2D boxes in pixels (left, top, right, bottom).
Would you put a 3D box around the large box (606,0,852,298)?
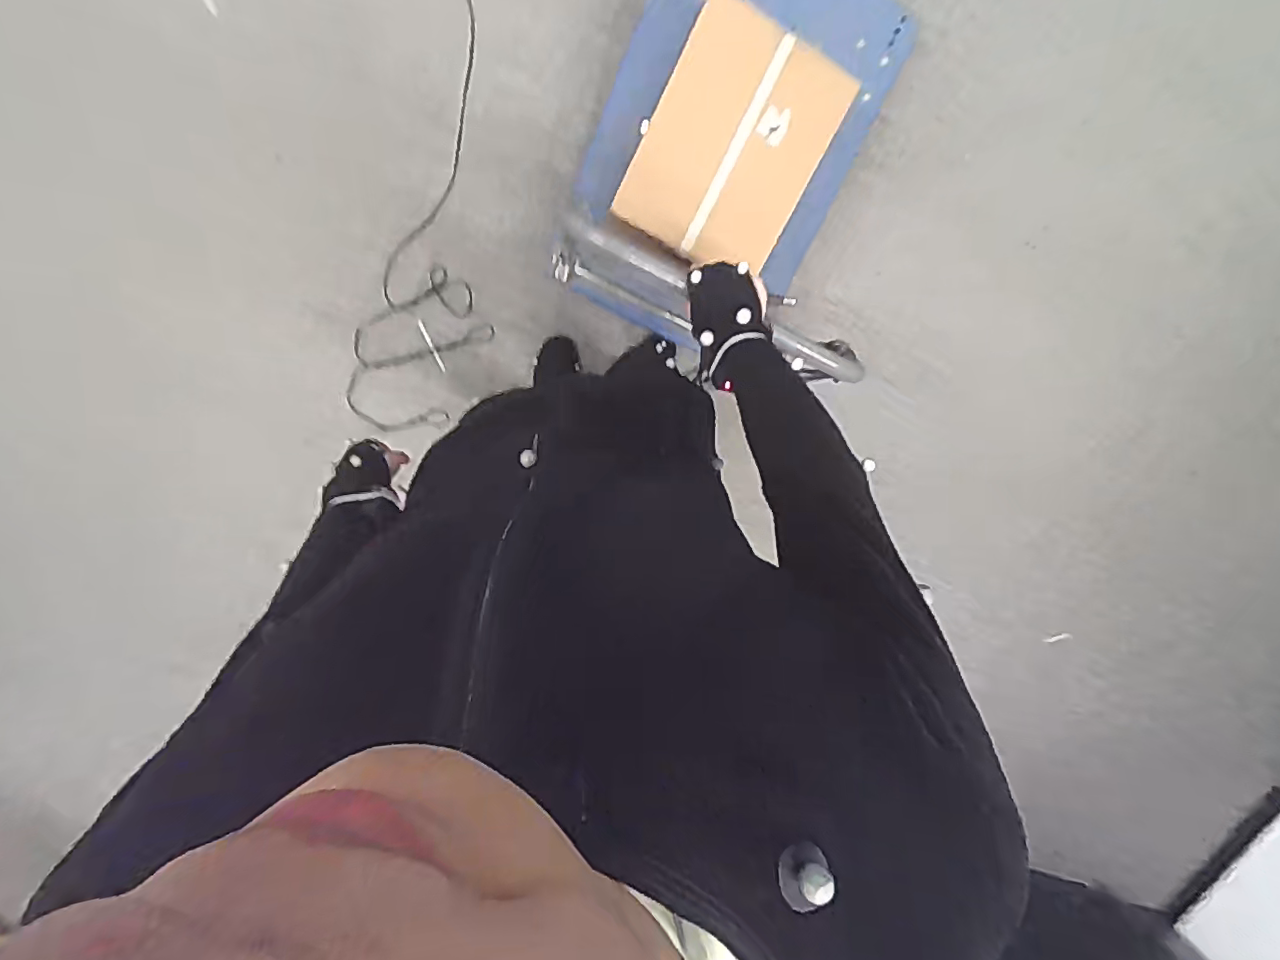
[{"bbox_3d":[0.150,-0.641,1.131,0.320,0.320,0.408,25,102,-13],"label":"large box"}]
